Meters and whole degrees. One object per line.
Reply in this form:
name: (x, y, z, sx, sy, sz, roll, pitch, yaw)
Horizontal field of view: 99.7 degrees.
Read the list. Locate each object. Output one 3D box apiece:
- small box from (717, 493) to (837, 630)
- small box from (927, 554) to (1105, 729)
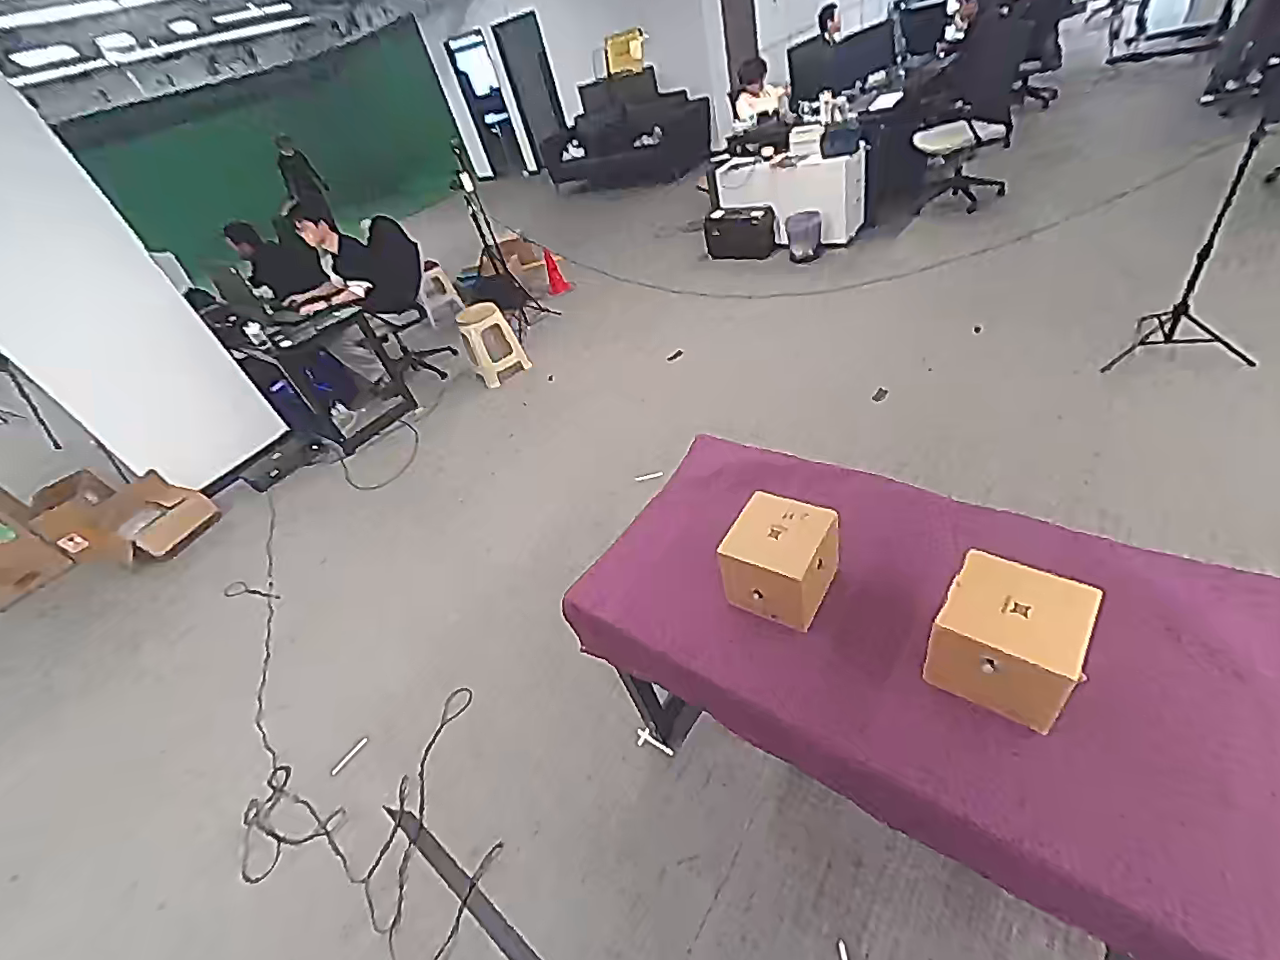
small box: (0.272, 0.158, 1.046, 0.168, 0.176, 0.179, 17, 51, 34)
small box: (0.567, 0.251, 0.833, 0.179, 0.176, 0.168, 20, 53, 38)
